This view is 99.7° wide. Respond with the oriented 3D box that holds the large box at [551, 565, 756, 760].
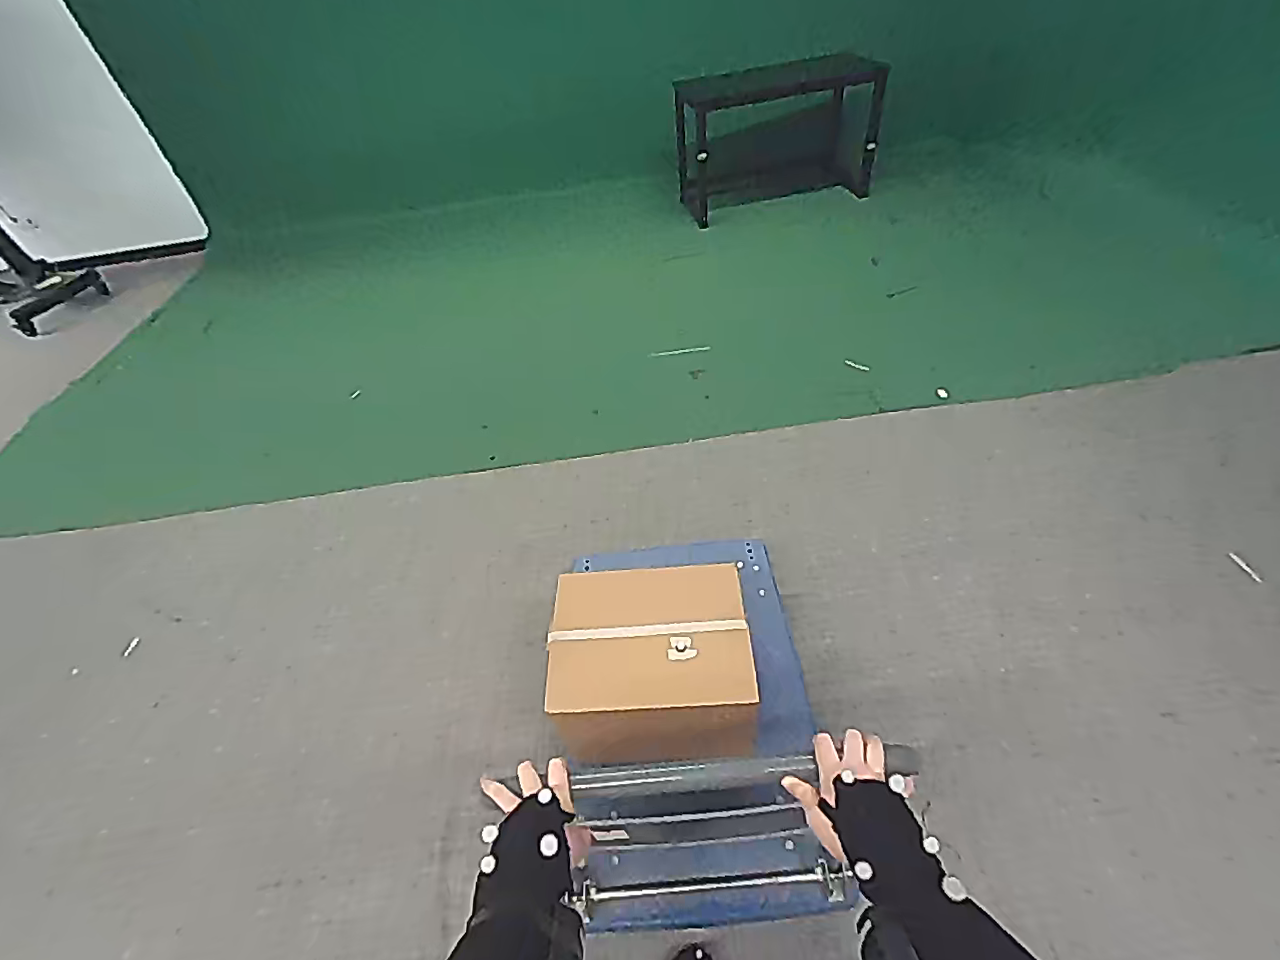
[{"bbox_3d":[0.030,0.421,1.239,0.408,0.320,0.320,-4,46,3],"label":"large box"}]
